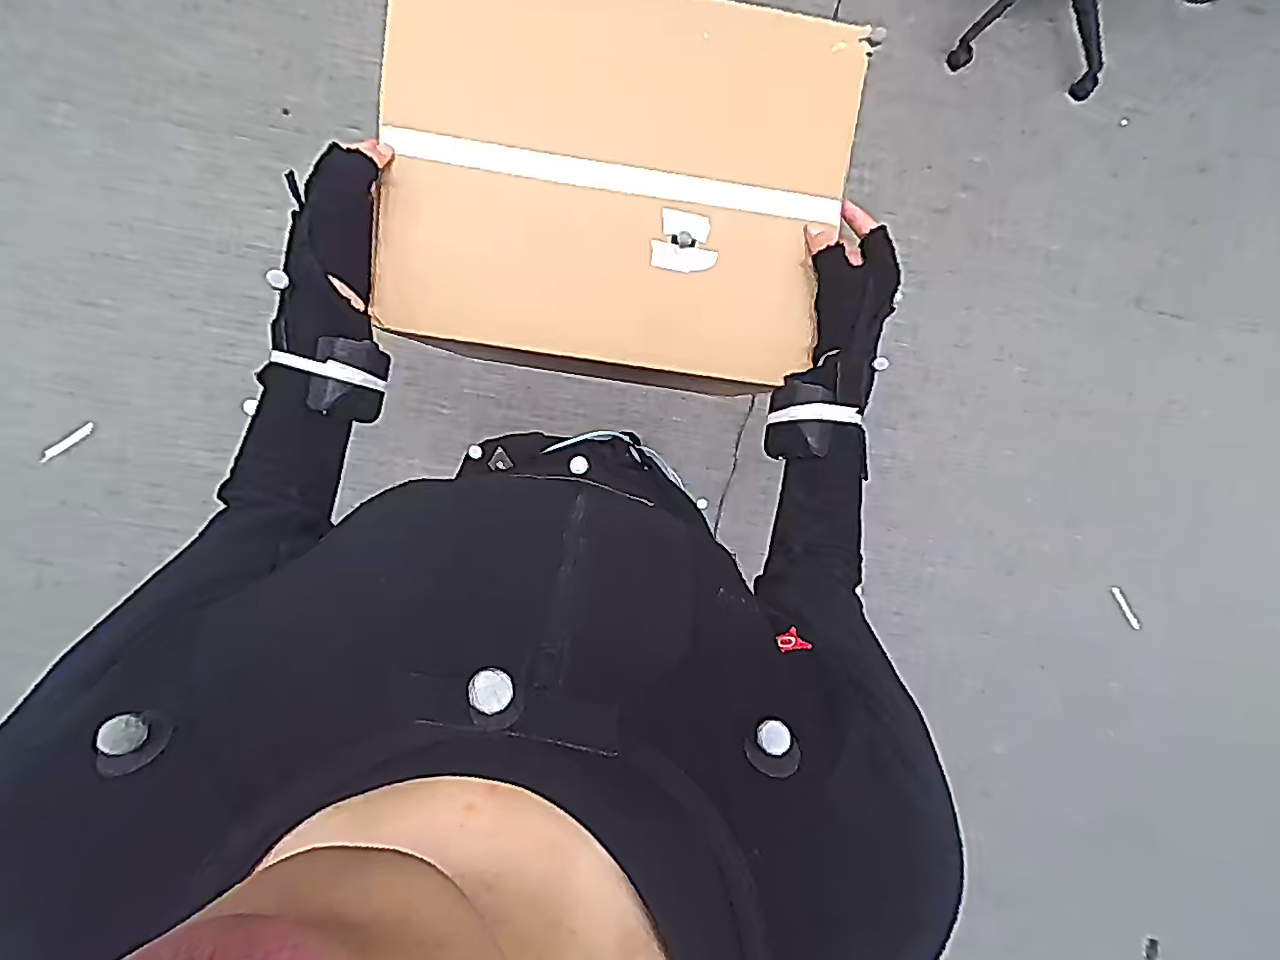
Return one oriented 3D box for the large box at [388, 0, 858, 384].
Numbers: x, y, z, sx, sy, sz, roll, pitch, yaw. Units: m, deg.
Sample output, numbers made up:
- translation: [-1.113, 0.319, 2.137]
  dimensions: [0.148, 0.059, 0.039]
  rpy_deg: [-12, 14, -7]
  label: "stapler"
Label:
- translation: [-0.028, -0.295, 0.636]
  dimensions: [0.408, 0.320, 0.320]
  rpy_deg: [7, 99, -4]
  label: "large box"
